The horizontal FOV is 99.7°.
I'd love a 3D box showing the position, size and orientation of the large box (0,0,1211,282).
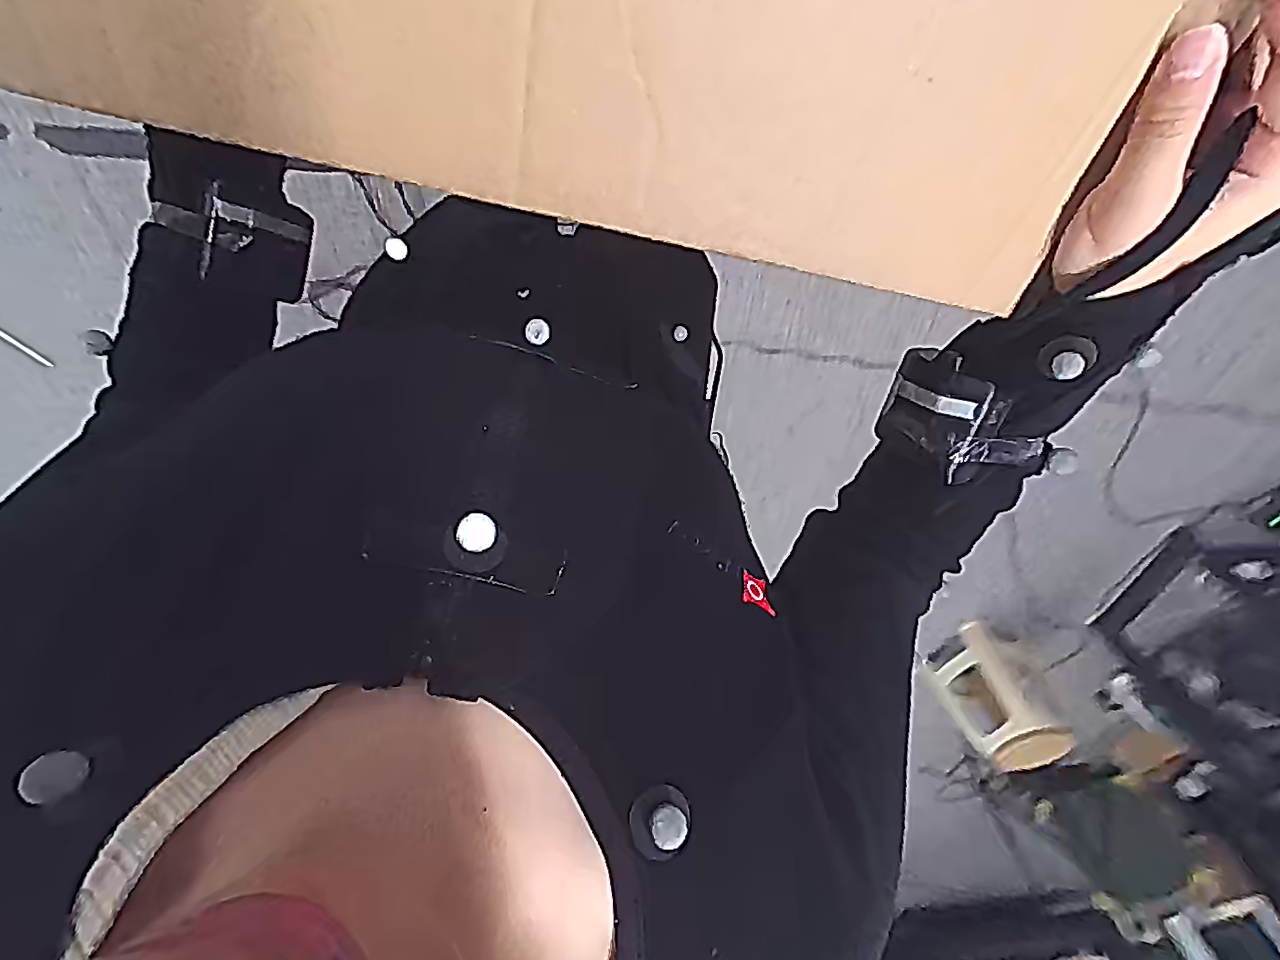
[{"bbox_3d":[0.000,-0.320,0.228,0.408,0.320,0.320,4,133,-14],"label":"large box"}]
